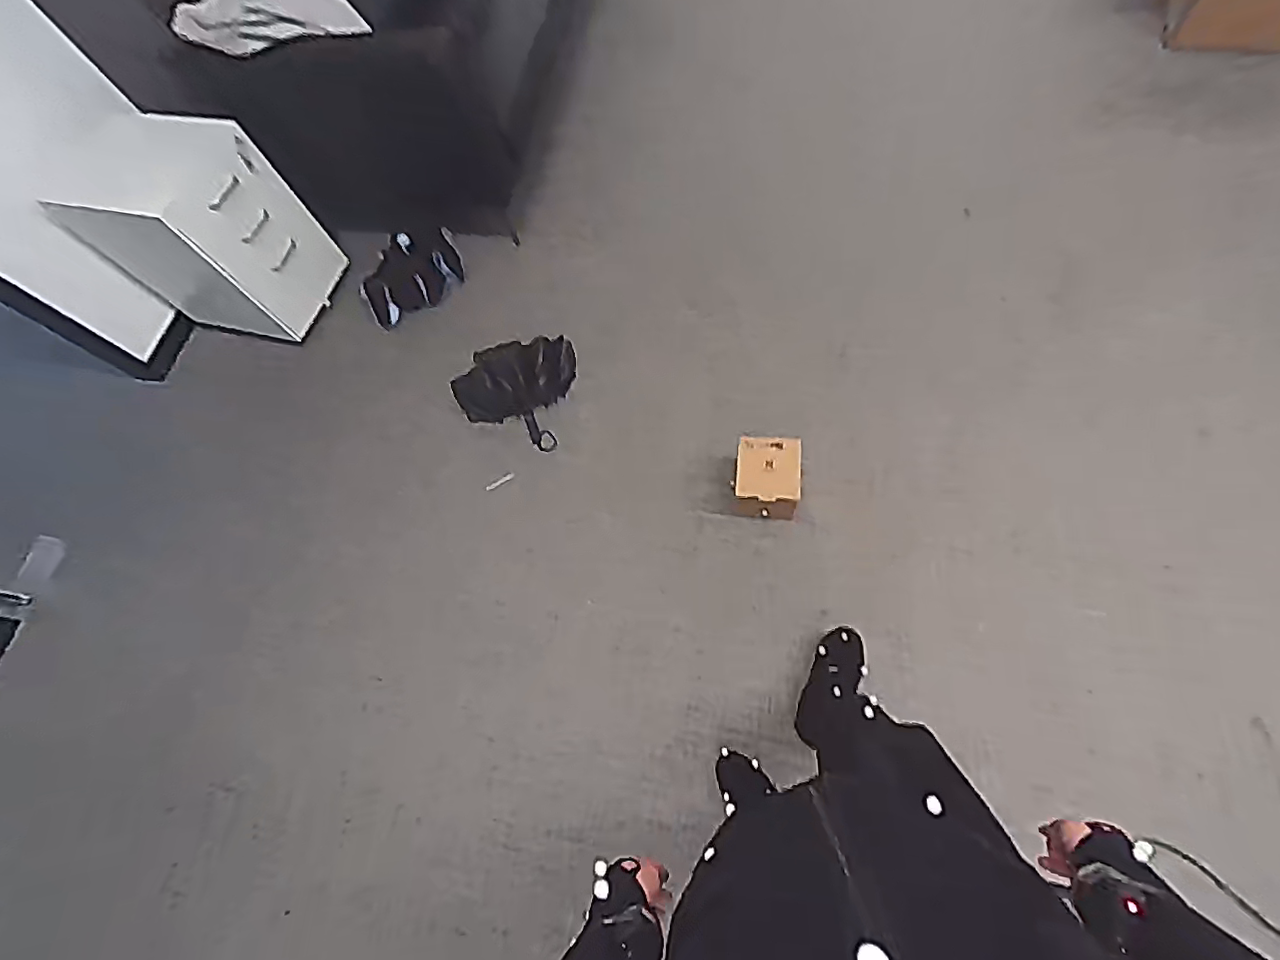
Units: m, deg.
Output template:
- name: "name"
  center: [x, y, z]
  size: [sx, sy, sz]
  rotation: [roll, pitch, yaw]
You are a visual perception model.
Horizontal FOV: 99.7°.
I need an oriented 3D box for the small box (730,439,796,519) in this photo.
- name: "small box"
  center: [0.339, 0.001, 1.508]
  size: [0.168, 0.176, 0.179]
  rotation: [4, 69, 10]
